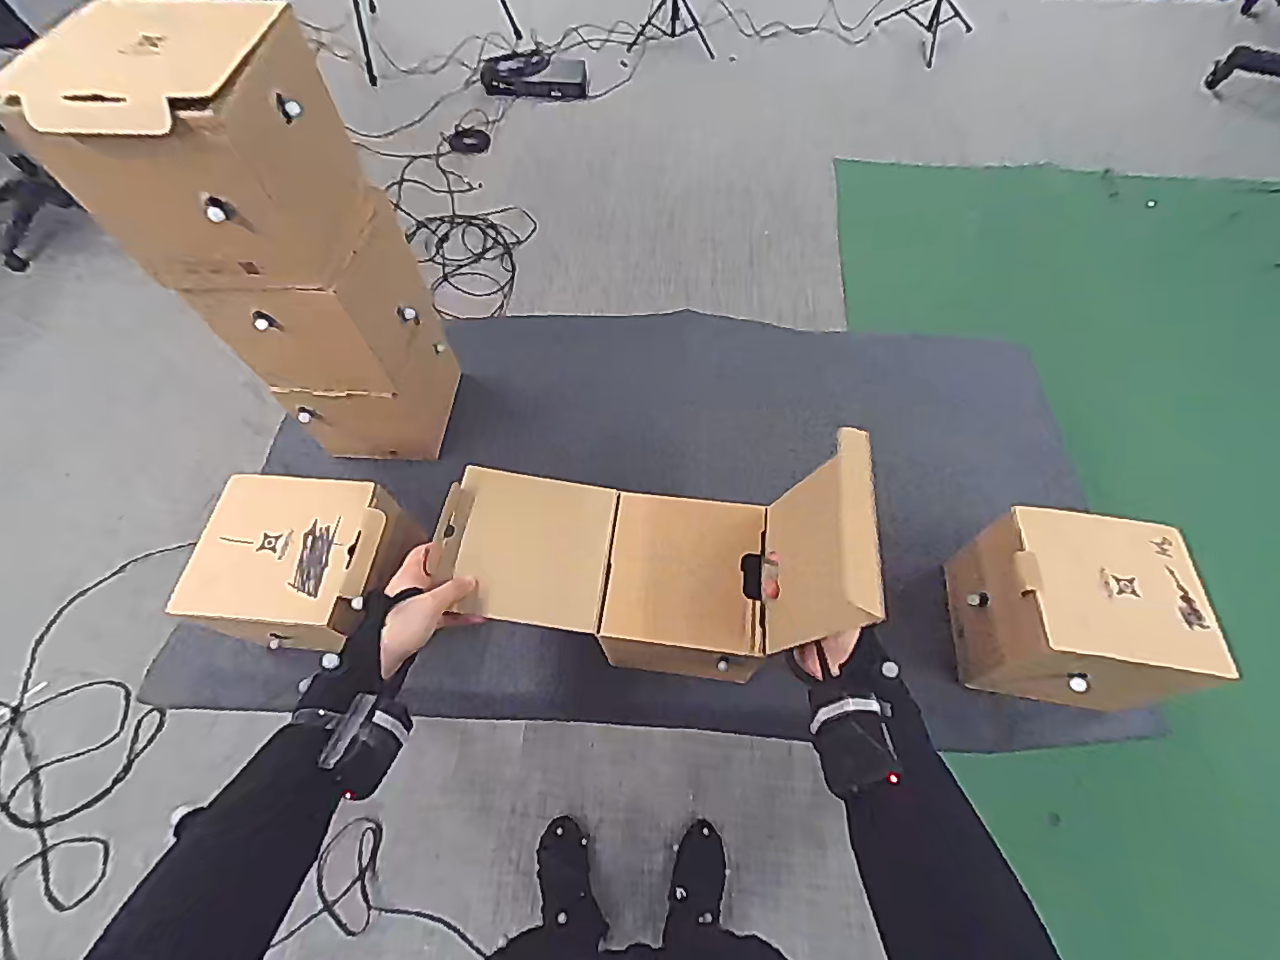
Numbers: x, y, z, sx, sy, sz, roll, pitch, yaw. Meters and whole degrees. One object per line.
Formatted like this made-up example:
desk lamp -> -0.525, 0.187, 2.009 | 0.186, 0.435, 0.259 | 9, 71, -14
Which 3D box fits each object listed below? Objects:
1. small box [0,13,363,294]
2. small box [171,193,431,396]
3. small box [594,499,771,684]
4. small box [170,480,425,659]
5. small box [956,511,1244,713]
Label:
small box -> -0.387, -0.293, 0.503 | 0.168, 0.176, 0.179 | 0, 61, -1
small box -> -0.379, -0.216, 0.645 | 0.179, 0.176, 0.168 | 3, 63, 2
small box -> 0.054, 0.138, 0.638 | 0.179, 0.176, 0.168 | 5, 62, 6
small box -> -0.387, 0.115, 0.654 | 0.179, 0.176, 0.168 | 4, 62, 3
small box -> 0.488, 0.155, 0.616 | 0.179, 0.176, 0.168 | 8, 58, 6
